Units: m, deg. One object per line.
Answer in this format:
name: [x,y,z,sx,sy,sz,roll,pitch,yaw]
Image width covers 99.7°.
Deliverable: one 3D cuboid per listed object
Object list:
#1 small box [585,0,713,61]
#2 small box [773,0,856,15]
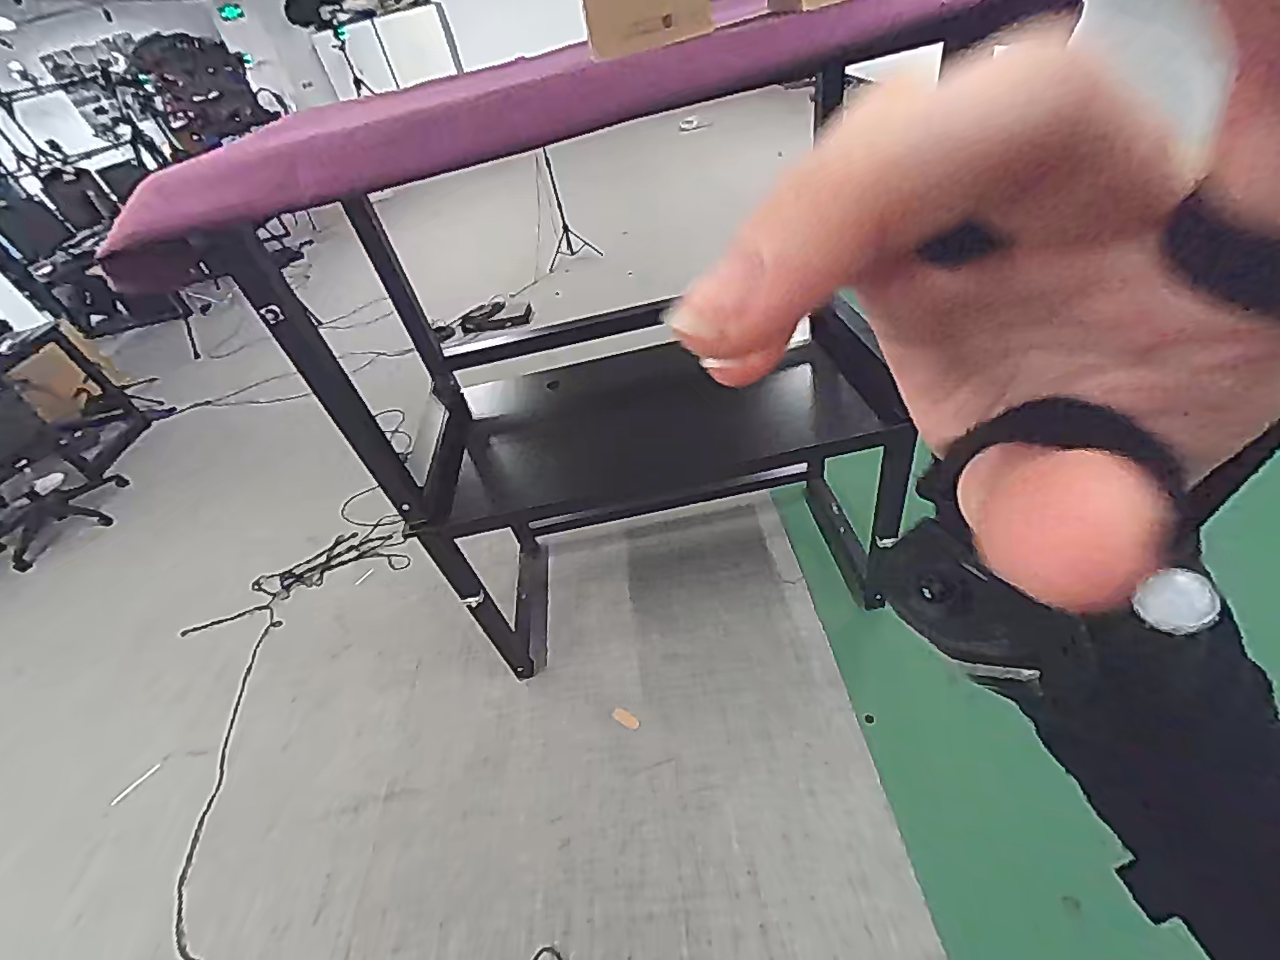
small box: [0.001,-0.704,0.752,0.168,0.176,0.179,-11,40,3]
small box: [0.278,-0.757,0.730,0.168,0.176,0.179,-12,41,4]
